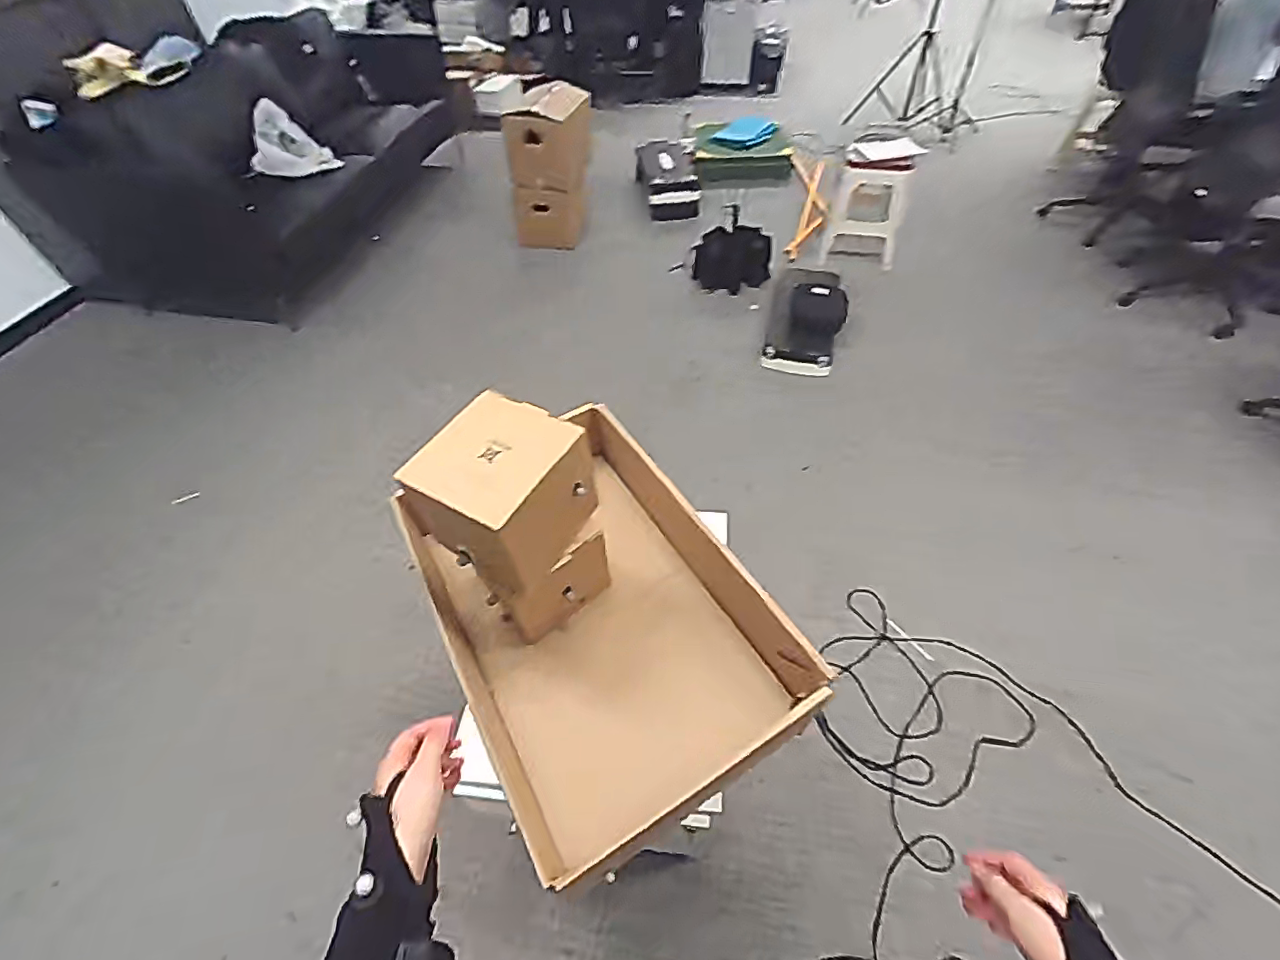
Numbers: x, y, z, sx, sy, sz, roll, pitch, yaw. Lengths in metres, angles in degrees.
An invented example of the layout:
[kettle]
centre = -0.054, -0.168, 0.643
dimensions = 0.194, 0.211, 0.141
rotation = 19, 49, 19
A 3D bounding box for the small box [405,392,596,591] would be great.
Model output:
[small box]
centre = -0.173, 0.017, 0.737
dimensions = 0.168, 0.176, 0.179
rotation = 22, 57, 21
